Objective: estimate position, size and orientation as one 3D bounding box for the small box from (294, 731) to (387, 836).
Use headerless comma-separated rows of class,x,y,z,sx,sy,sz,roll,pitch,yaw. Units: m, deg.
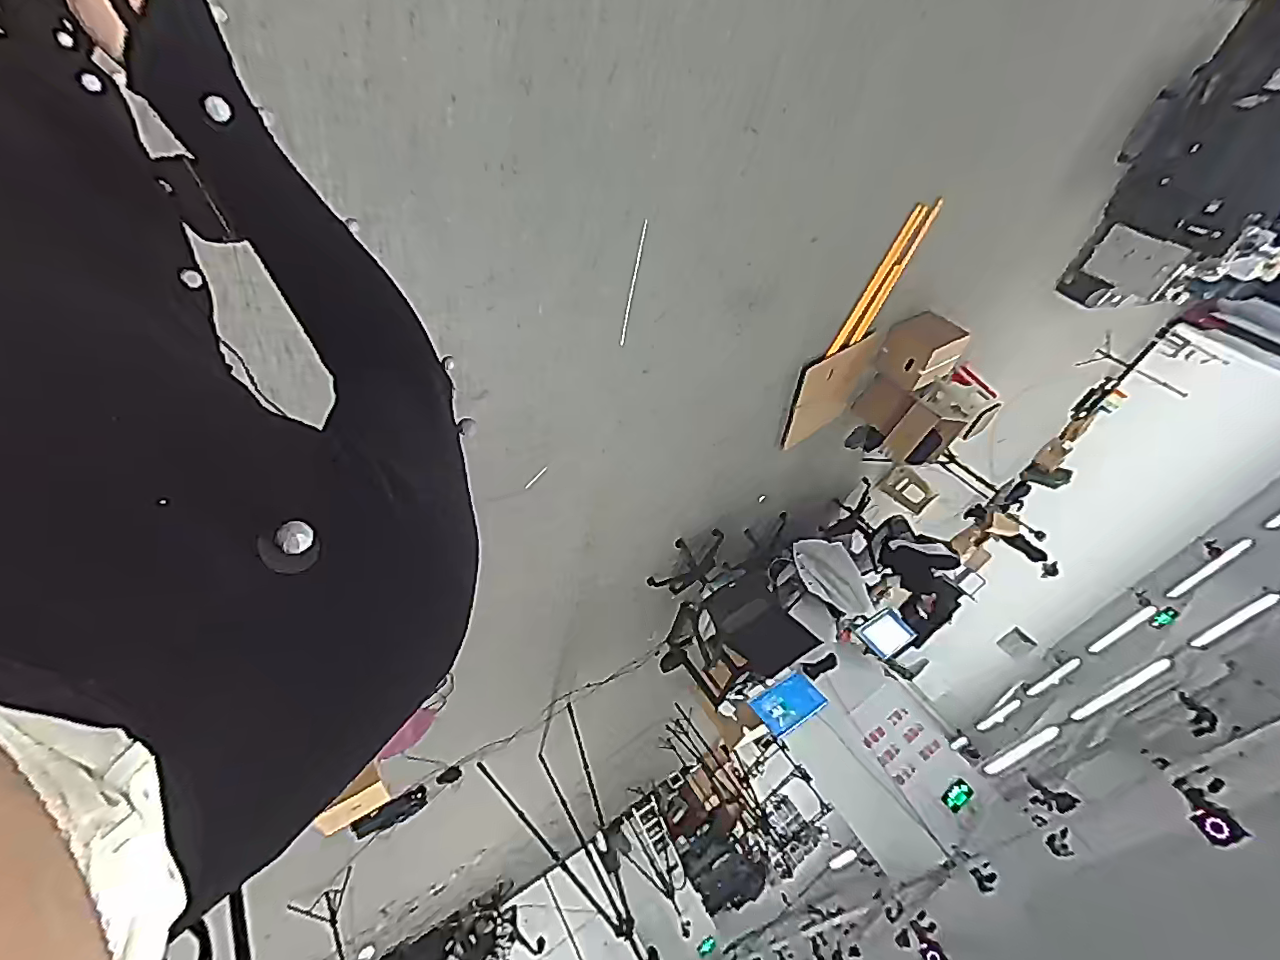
small box,-0.830,0.837,1.504,0.179,0.176,0.168,-19,141,-29
